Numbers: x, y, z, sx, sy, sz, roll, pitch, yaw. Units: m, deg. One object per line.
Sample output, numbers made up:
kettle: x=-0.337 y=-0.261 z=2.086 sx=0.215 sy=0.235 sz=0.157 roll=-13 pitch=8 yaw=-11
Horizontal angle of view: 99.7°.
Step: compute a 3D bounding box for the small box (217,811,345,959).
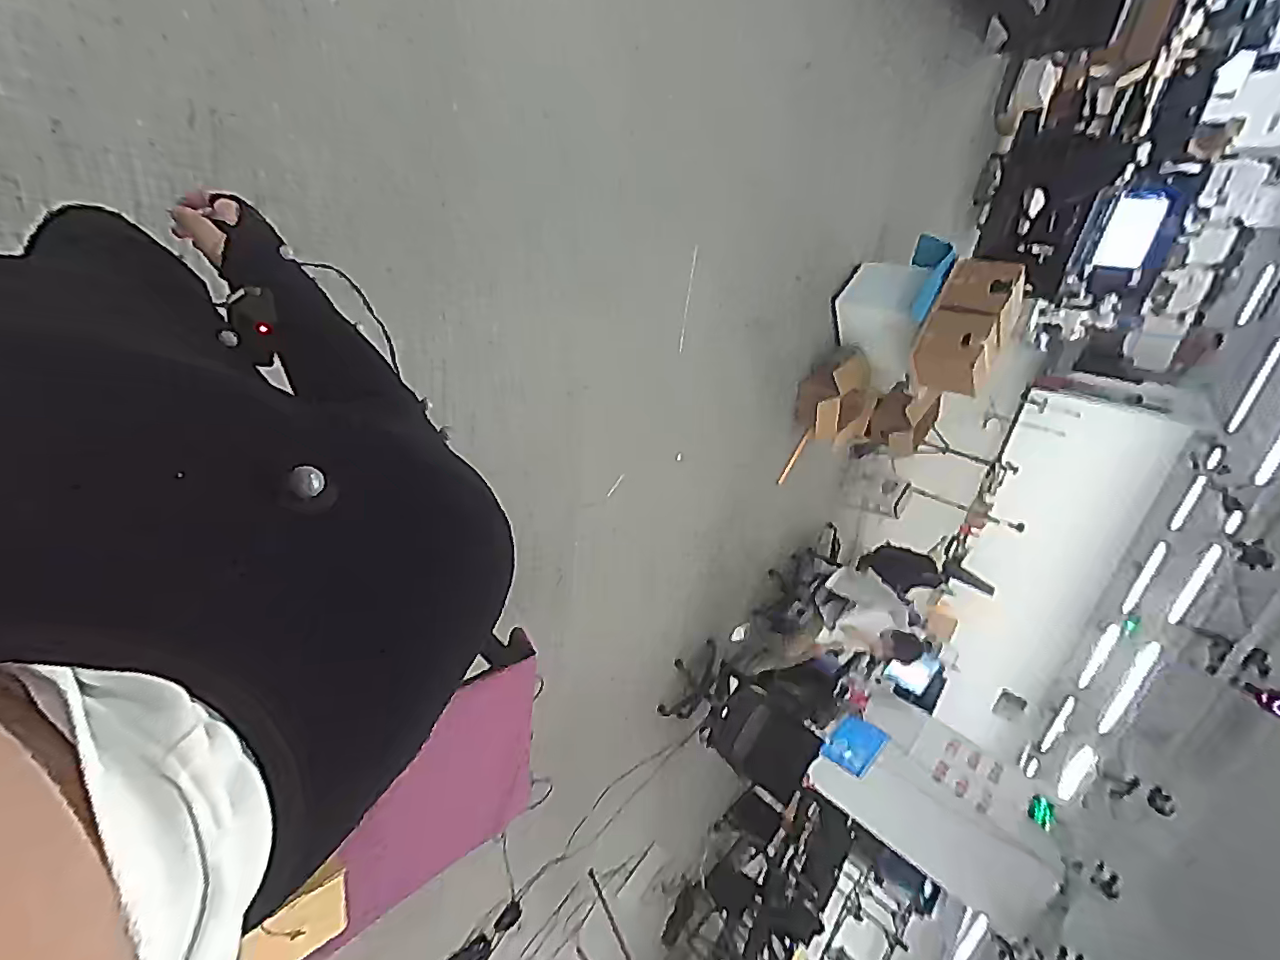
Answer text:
small box: x=-0.683 y=0.788 z=1.033 sx=0.168 sy=0.176 sz=0.179 roll=-14 pitch=122 yaw=-45
